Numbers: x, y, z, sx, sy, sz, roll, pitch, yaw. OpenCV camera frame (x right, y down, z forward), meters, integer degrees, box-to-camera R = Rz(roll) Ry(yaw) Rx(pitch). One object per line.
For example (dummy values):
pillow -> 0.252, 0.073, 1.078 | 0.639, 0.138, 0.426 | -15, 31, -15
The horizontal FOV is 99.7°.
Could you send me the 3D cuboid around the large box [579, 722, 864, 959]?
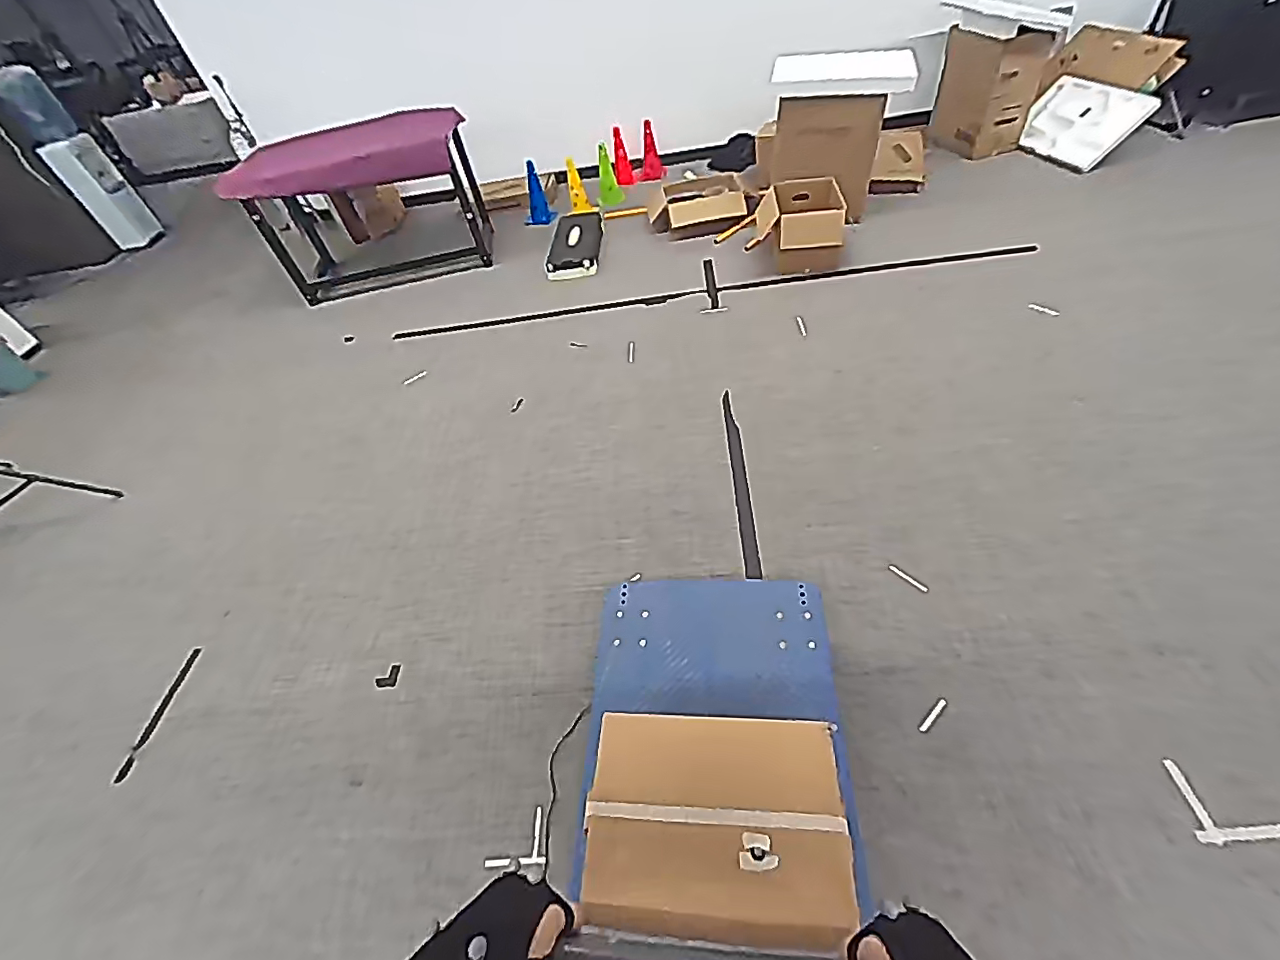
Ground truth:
large box -> 0.132, 0.648, 0.957 | 0.408, 0.320, 0.320 | -1, 47, 8
